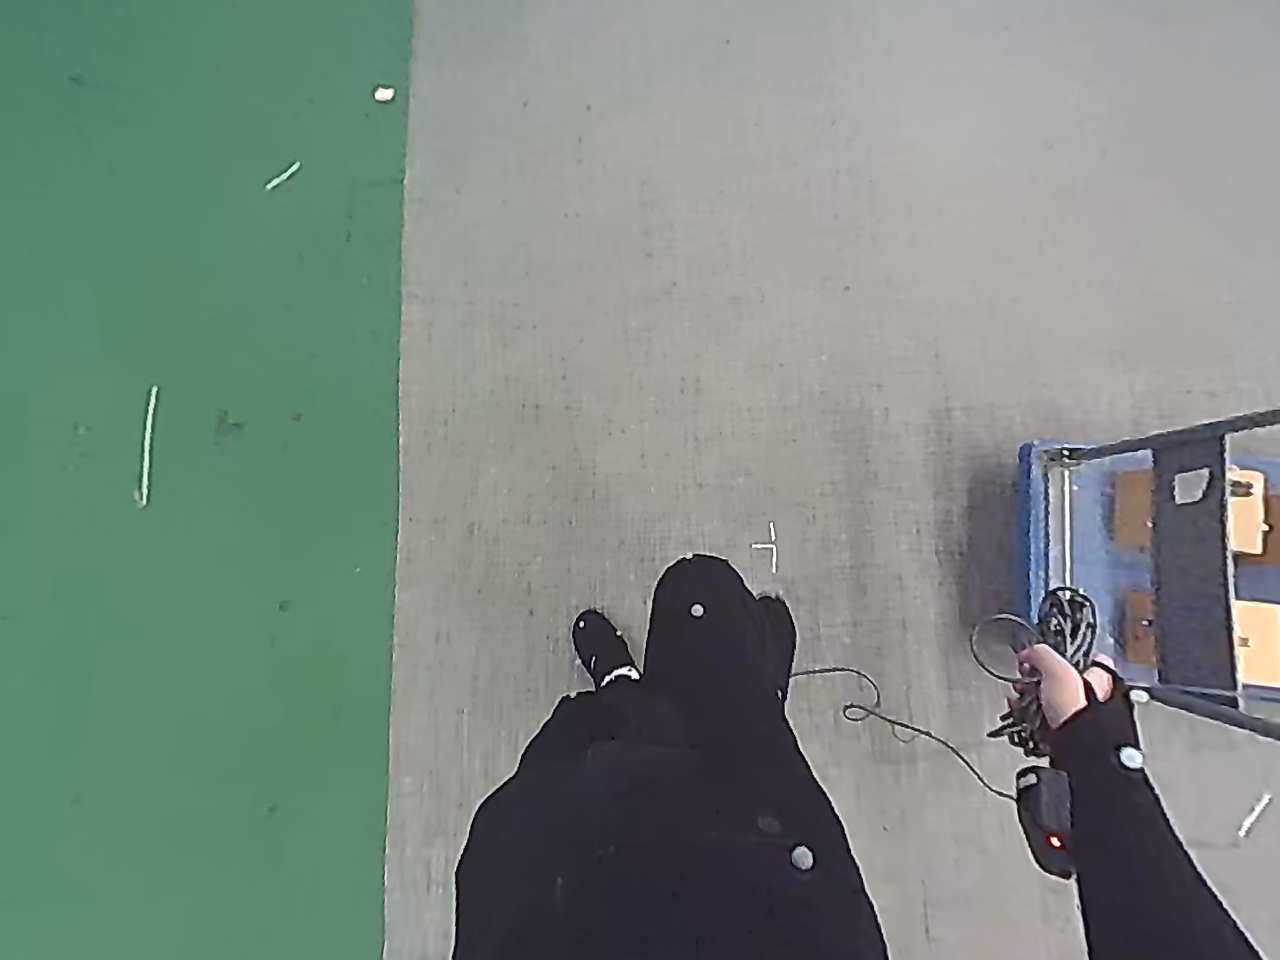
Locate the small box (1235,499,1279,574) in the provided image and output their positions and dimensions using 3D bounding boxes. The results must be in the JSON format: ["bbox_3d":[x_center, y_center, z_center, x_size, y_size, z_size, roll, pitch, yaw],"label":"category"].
[{"bbox_3d":[1.486,0.128,1.199,0.179,0.176,0.168,2,84,-1],"label":"small box"}]

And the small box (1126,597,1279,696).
[{"bbox_3d":[1.212,0.350,1.168,0.179,0.176,0.168,7,83,0],"label":"small box"}]
